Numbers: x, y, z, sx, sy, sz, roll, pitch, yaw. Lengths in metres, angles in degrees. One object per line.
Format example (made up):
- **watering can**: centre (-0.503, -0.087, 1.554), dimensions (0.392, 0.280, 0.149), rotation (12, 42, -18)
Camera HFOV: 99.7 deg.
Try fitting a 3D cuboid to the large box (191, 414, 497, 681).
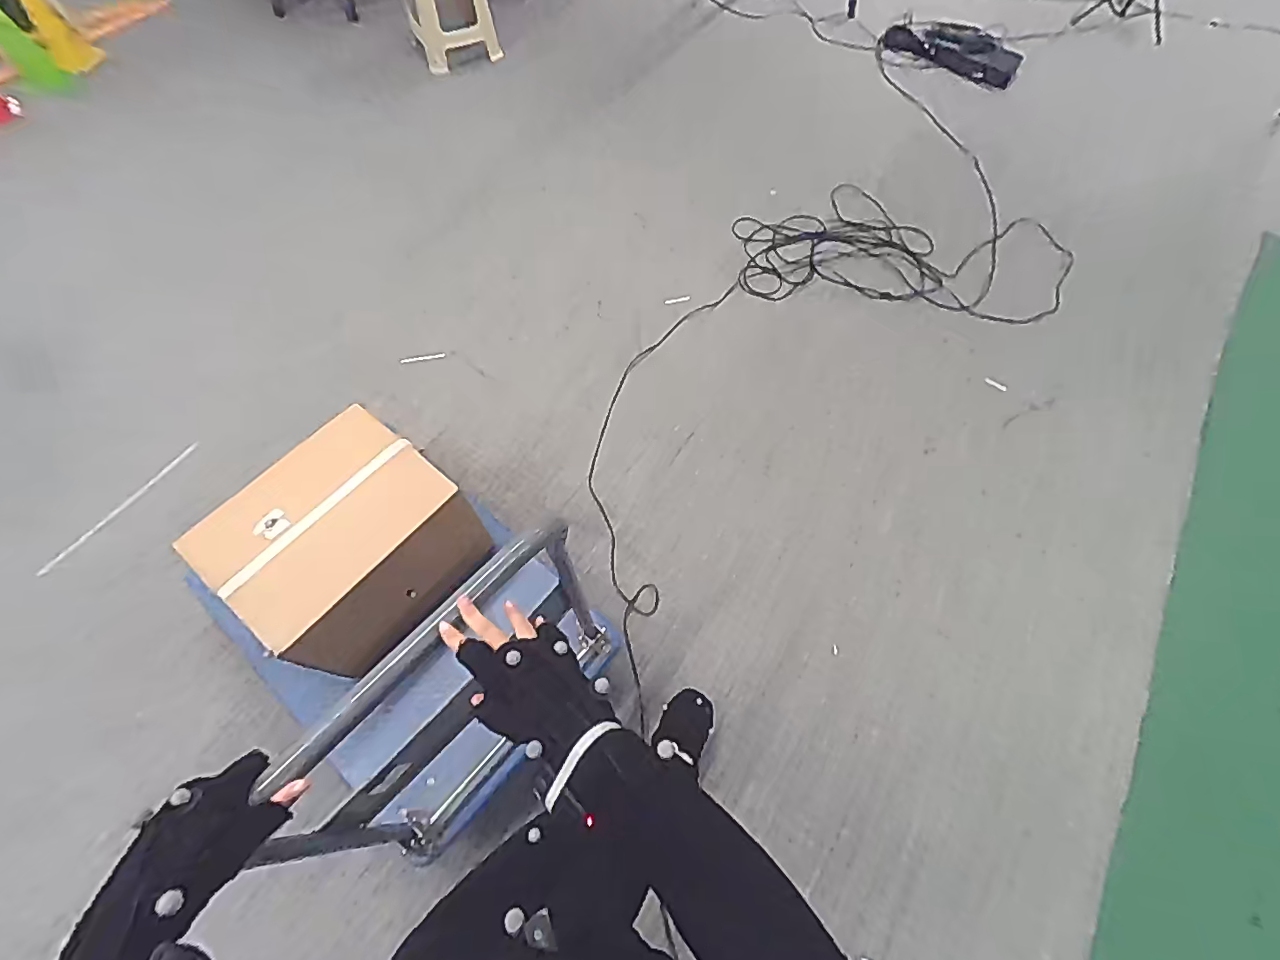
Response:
- **large box**: centre (-0.573, 0.148, 1.137), dimensions (0.320, 0.320, 0.408), rotation (35, 68, 16)
